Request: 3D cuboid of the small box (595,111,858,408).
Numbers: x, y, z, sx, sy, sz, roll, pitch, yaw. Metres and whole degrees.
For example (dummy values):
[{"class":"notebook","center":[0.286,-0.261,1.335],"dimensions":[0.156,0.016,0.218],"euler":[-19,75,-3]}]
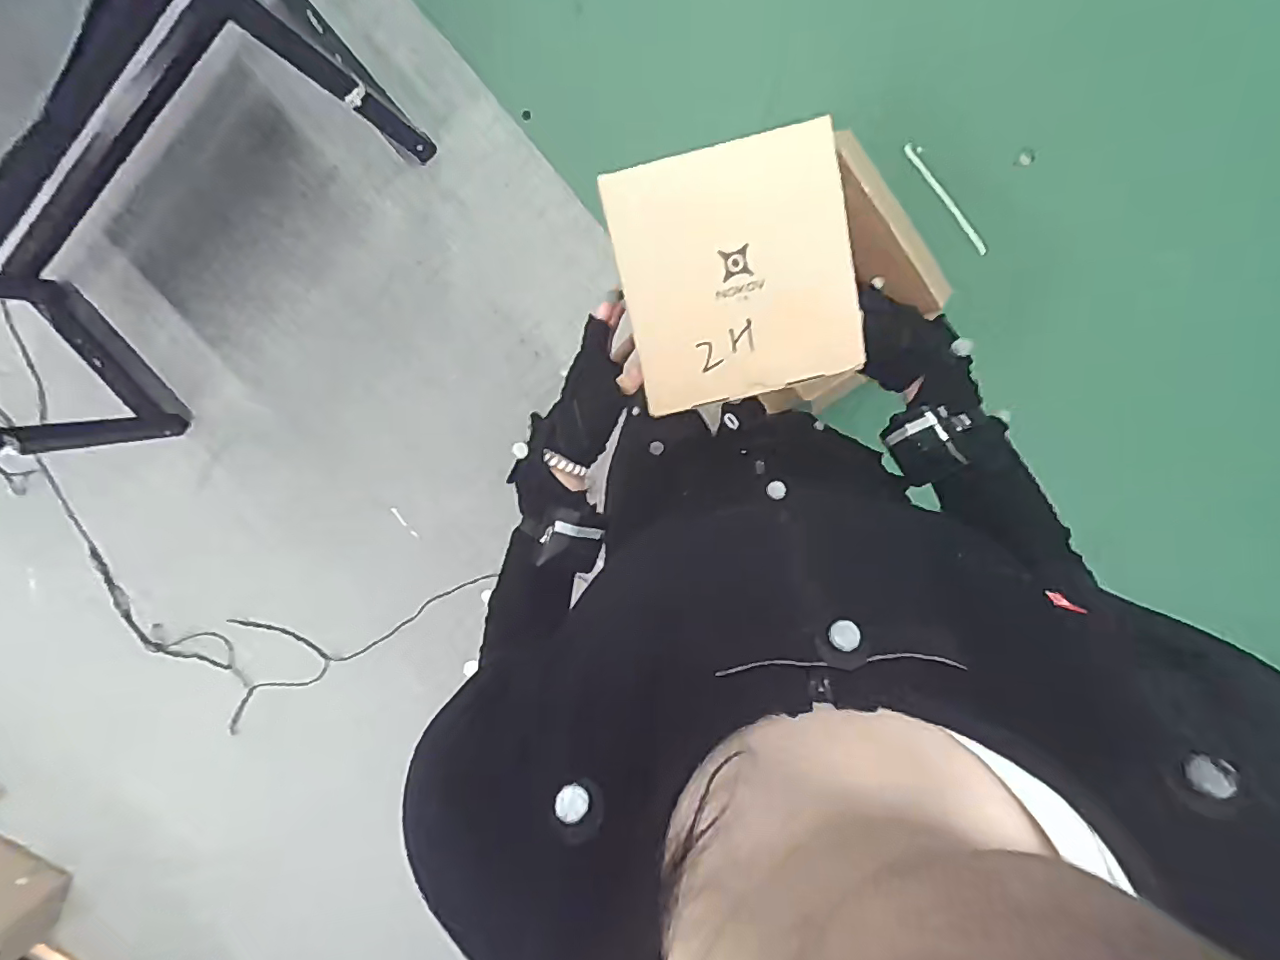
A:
[{"class":"small box","center":[0.064,-0.168,0.465],"dimensions":[0.168,0.176,0.179],"euler":[-13,102,4]}]
